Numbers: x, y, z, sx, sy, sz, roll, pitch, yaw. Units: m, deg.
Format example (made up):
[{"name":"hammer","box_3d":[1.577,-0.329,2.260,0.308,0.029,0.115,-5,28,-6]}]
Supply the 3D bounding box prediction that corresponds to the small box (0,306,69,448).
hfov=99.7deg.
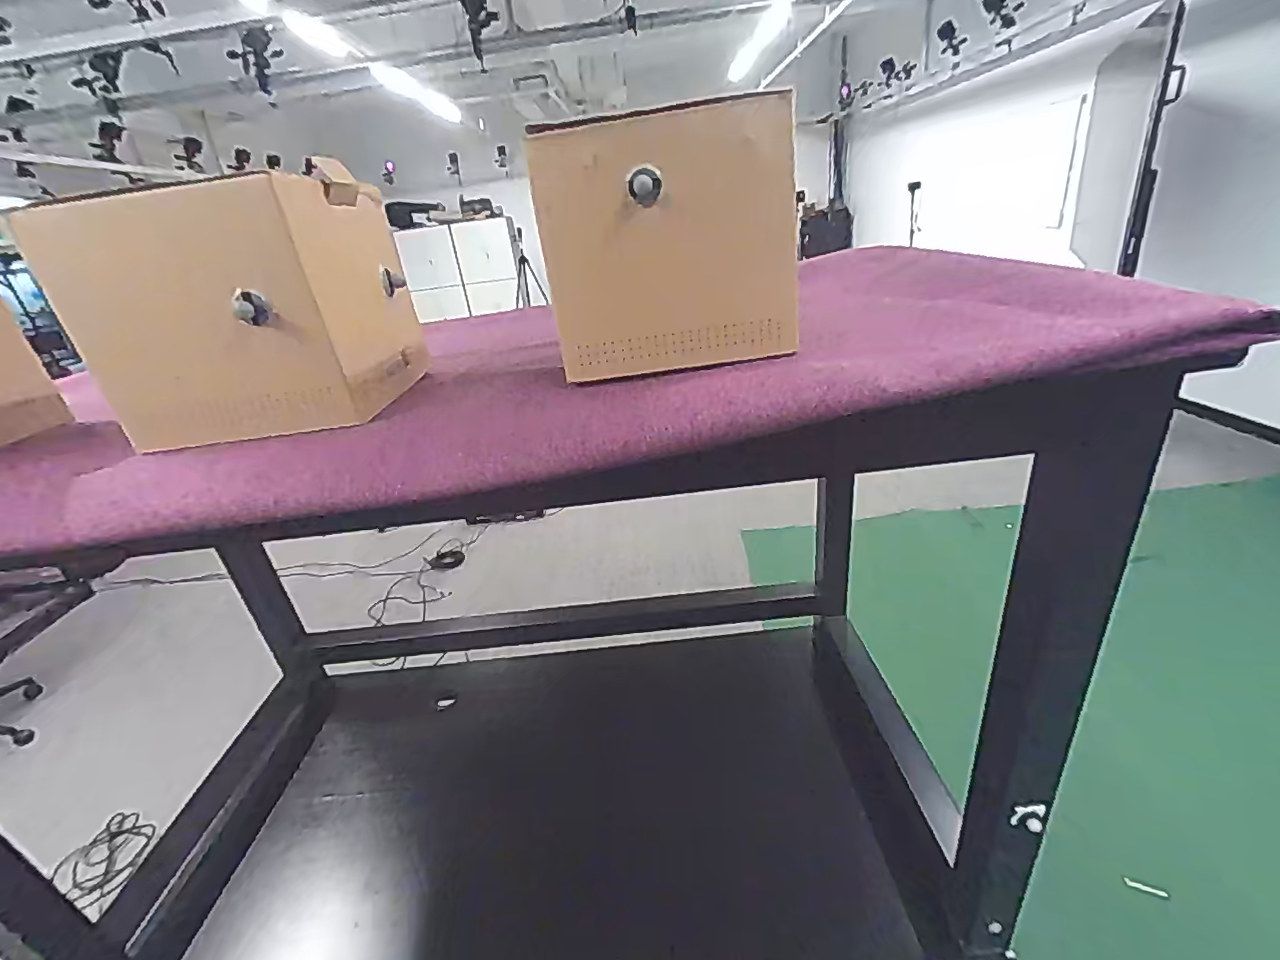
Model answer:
[{"name":"small box","box_3d":[-0.636,-0.086,0.424,0.168,0.176,0.179,-7,26,0]}]

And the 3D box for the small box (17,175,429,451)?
[{"name":"small box","box_3d":[-0.297,-0.136,0.441,0.179,0.176,0.168,-8,25,2]}]

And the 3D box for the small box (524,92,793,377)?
[{"name":"small box","box_3d":[0.022,-0.189,0.451,0.179,0.176,0.168,-6,23,4]}]
